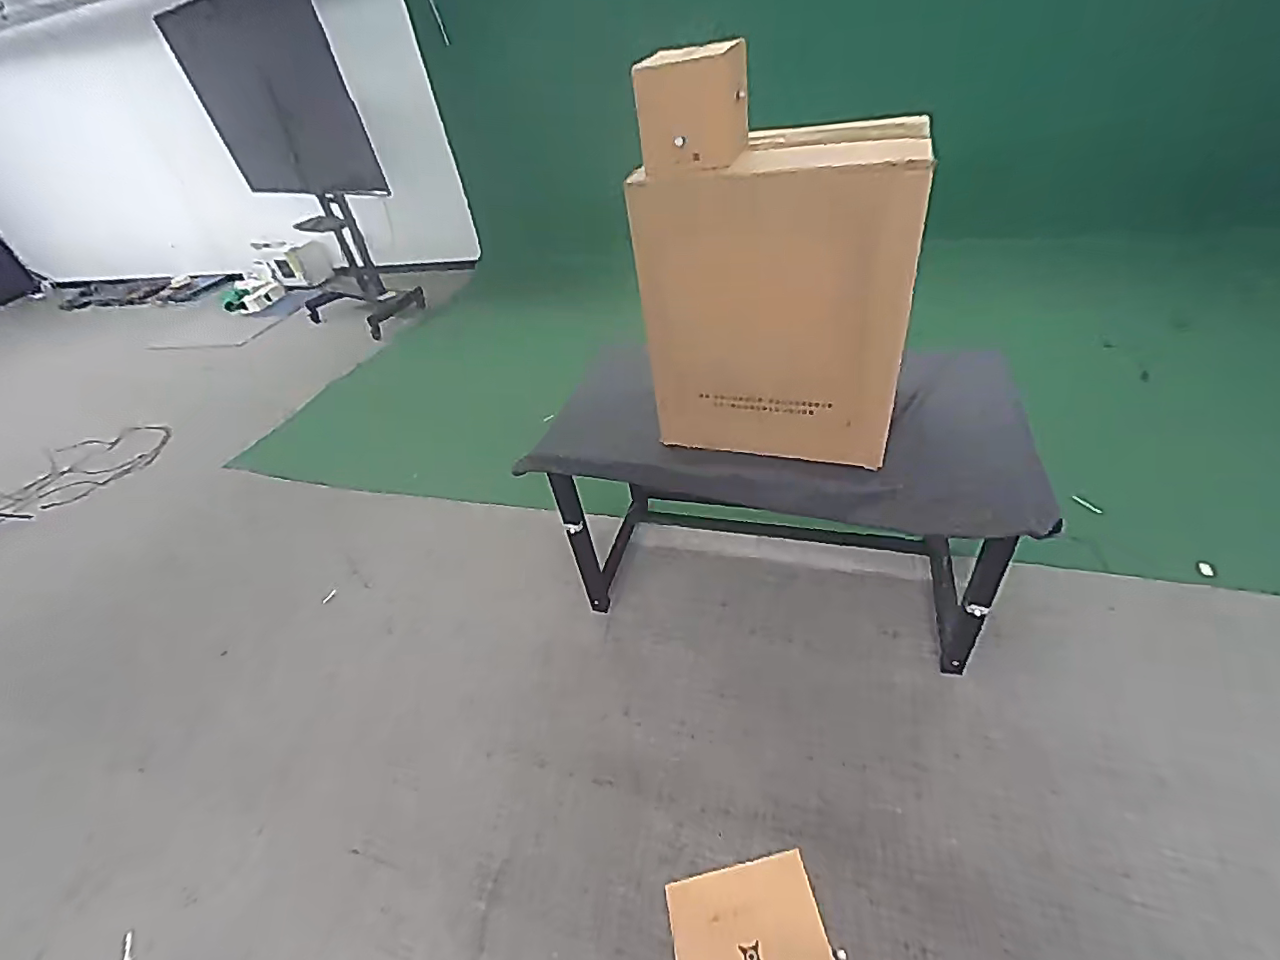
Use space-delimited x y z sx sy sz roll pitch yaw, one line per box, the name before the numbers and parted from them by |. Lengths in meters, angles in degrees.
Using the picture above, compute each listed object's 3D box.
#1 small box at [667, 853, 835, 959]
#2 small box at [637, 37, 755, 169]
small box | 0.142 0.569 0.615 0.168 0.176 0.179 -17 37 1
small box | 0.110 -0.687 0.994 0.168 0.176 0.179 8 45 22
